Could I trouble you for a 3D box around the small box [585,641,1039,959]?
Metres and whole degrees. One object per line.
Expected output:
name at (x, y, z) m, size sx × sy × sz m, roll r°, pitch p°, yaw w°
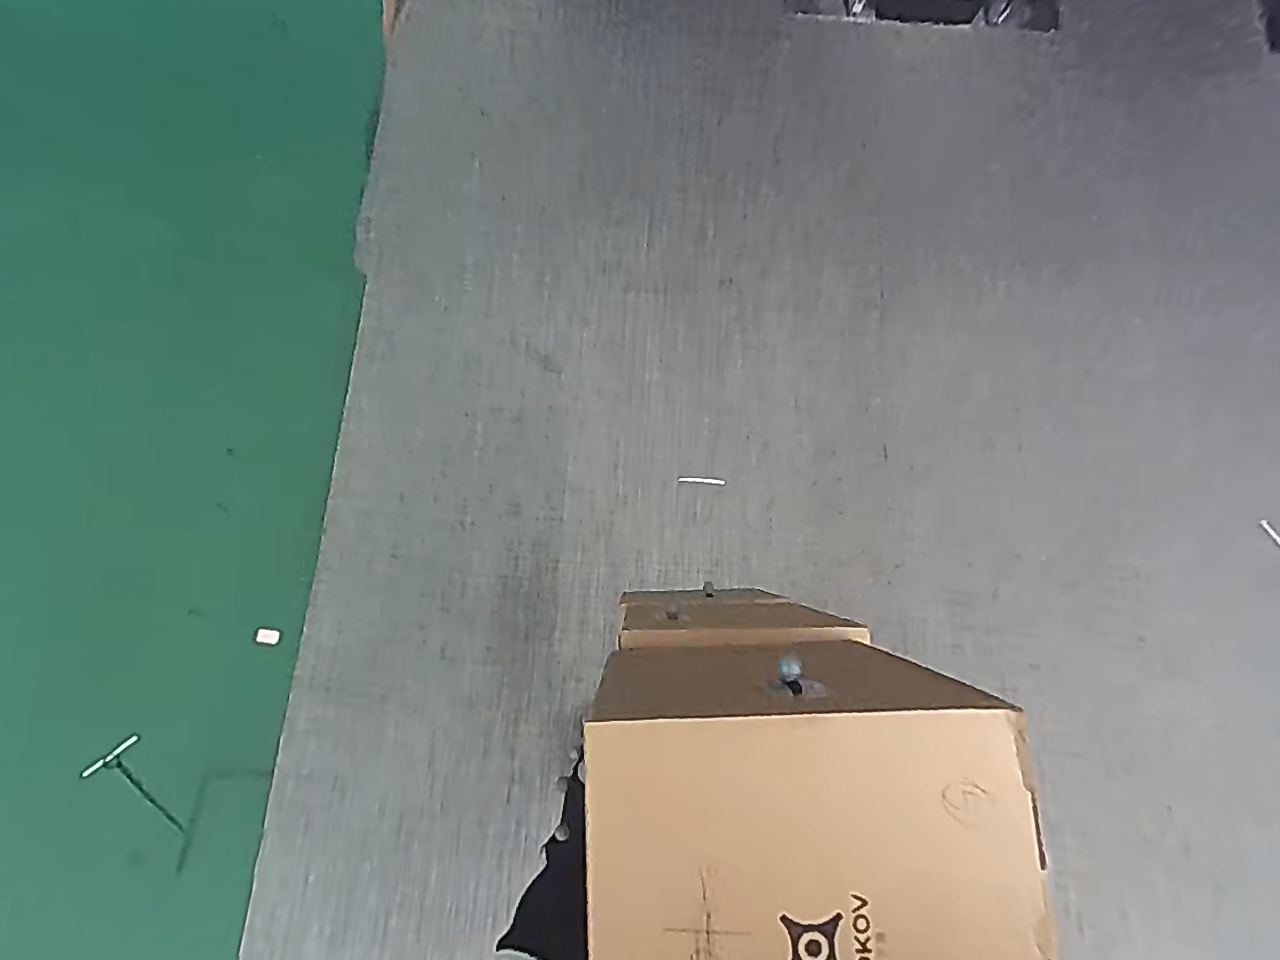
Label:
small box at (0.066, 0.182, 0.286) m, size 0.179 × 0.176 × 0.168 m, roll -2°, pitch 81°, yaw 1°
